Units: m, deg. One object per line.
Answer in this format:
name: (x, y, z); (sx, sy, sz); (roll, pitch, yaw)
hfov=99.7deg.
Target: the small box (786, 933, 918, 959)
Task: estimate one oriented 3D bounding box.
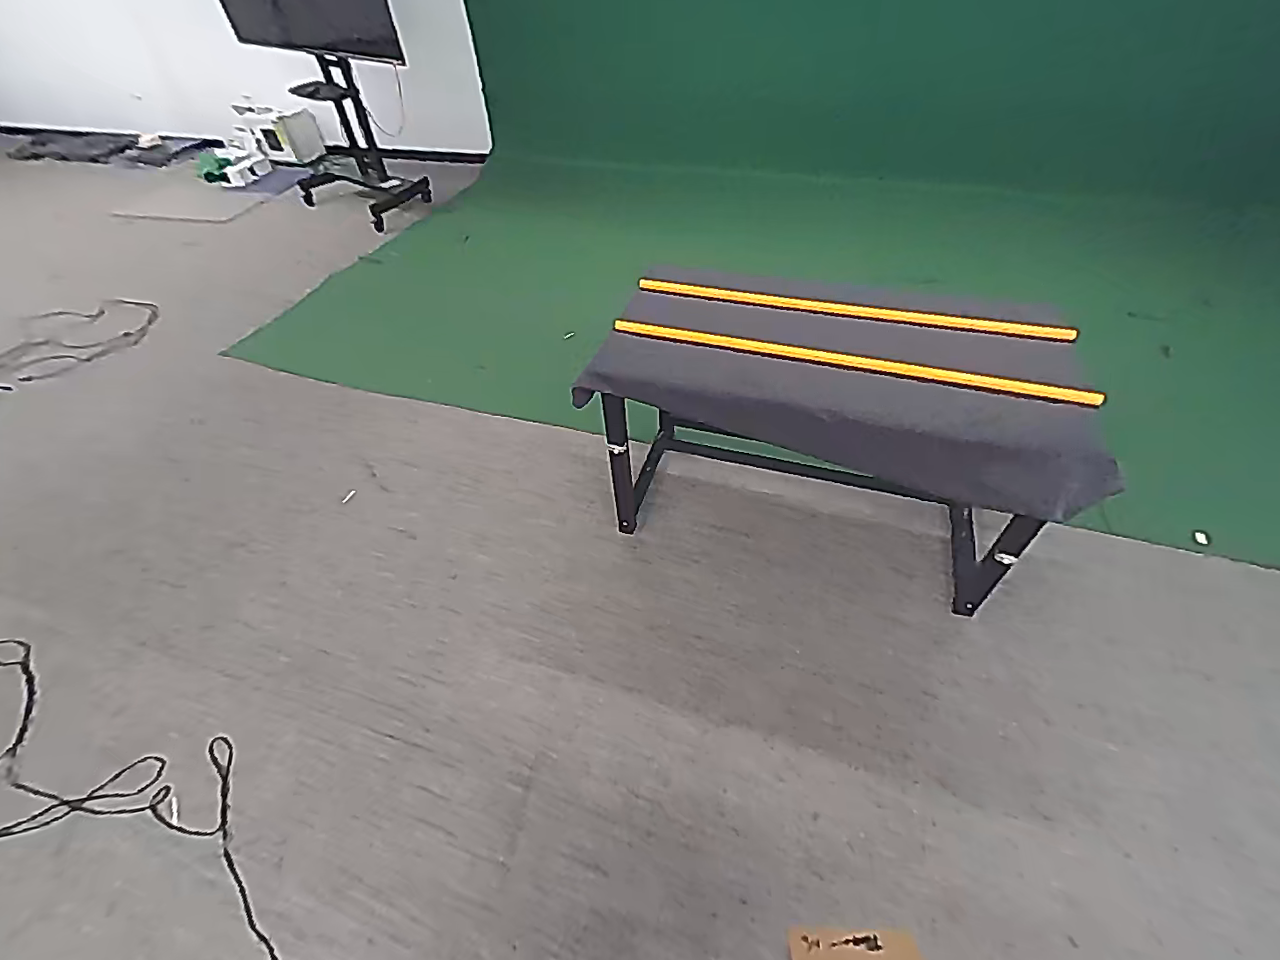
small box: (0.284, 0.711, 0.660); (0.168, 0.176, 0.179); (-6, 3, 5)
